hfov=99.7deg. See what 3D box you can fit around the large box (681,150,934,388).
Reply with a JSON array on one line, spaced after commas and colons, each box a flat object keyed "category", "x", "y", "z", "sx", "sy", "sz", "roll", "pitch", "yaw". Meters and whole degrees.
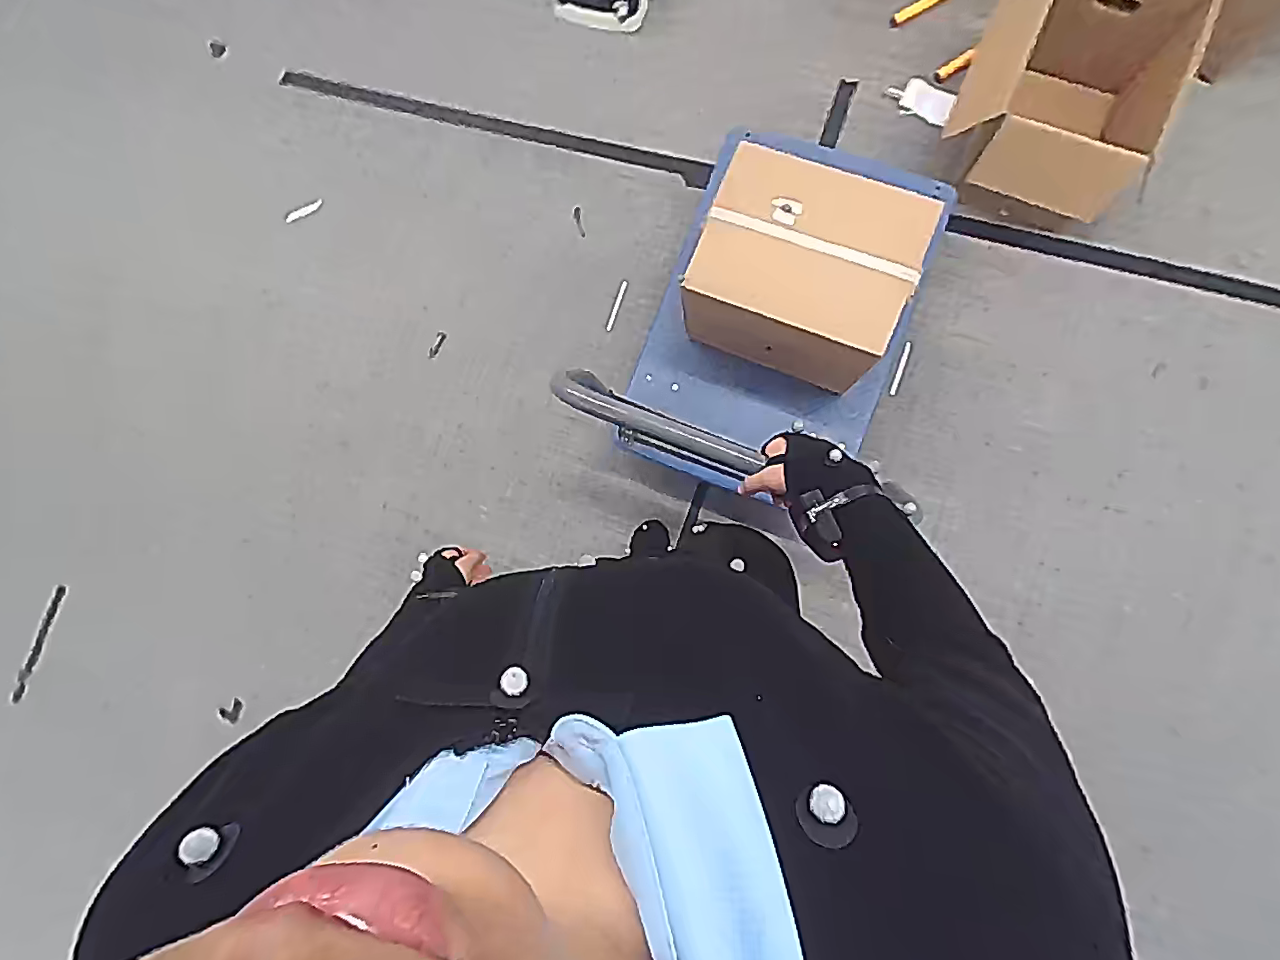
[{"category": "large box", "x": 0.340, "y": -0.436, "z": 1.187, "sx": 0.408, "sy": 0.320, "sz": 0.320, "roll": 22, "pitch": 88, "yaw": 9}]
